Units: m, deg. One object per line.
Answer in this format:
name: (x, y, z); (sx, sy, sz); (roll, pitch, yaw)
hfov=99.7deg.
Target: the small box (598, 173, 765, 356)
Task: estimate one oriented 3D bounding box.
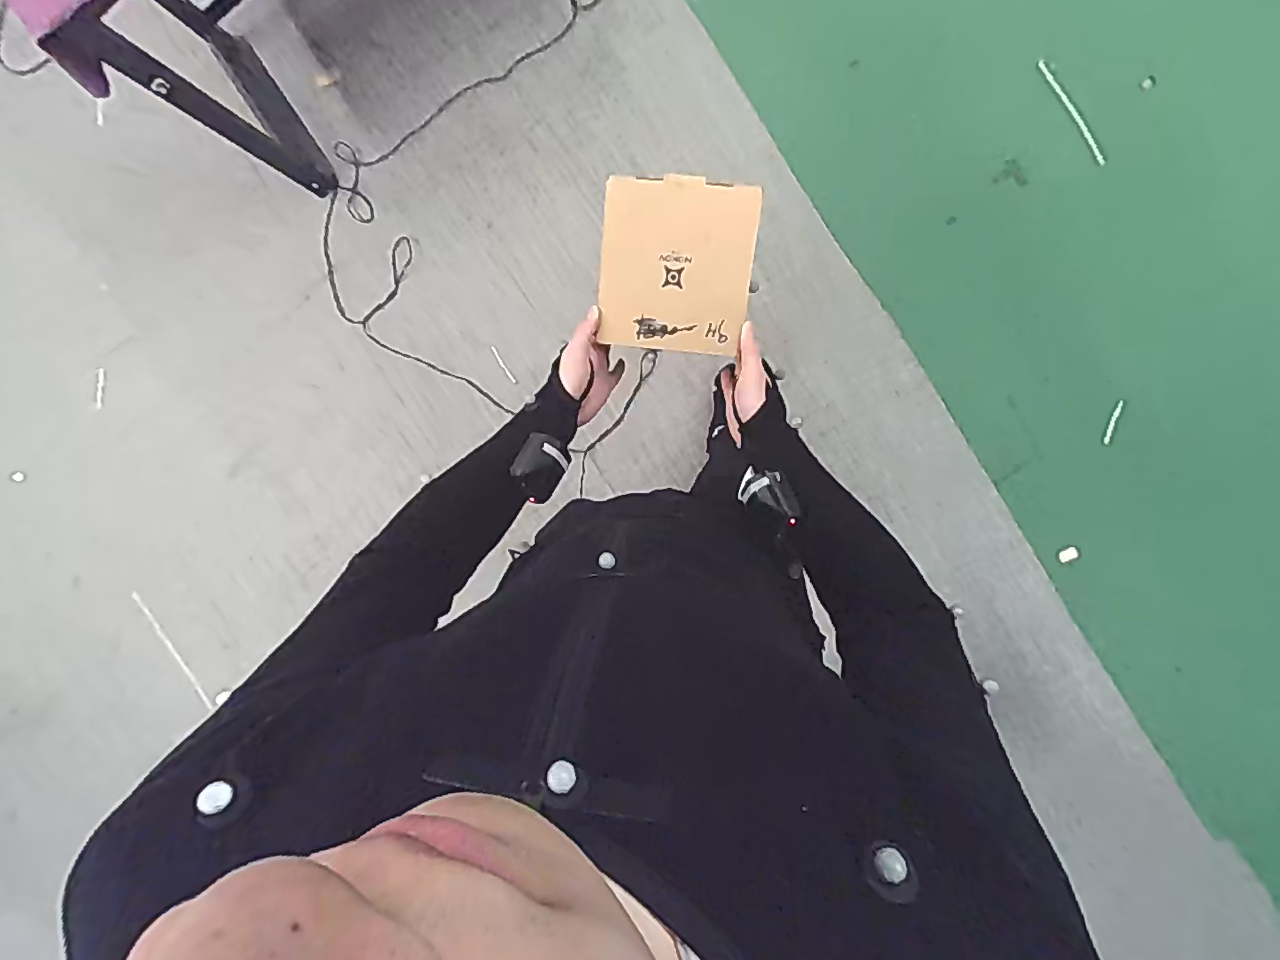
small box: (0.050, -0.251, 0.663); (0.168, 0.176, 0.179); (8, 106, 6)
